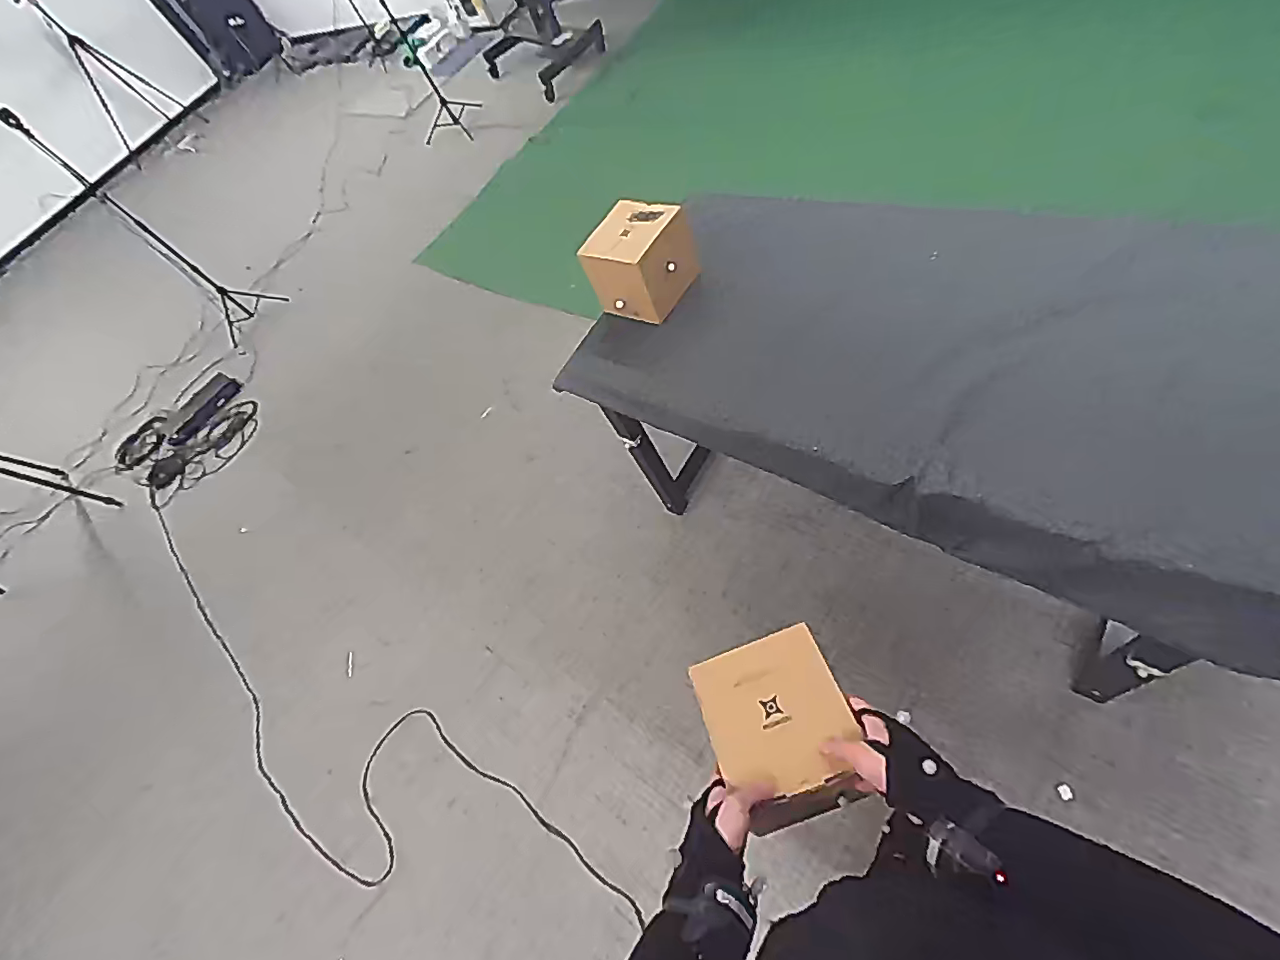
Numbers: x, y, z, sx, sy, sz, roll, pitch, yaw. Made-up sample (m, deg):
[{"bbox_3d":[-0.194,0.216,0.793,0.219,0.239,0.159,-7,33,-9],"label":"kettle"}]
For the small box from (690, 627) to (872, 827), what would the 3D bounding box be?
[{"bbox_3d":[0.184,0.329,0.706,0.168,0.176,0.179,-23,45,2],"label":"small box"}]

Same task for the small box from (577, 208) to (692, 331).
[{"bbox_3d":[-0.002,-0.461,1.189,0.168,0.176,0.179,23,71,31],"label":"small box"}]
